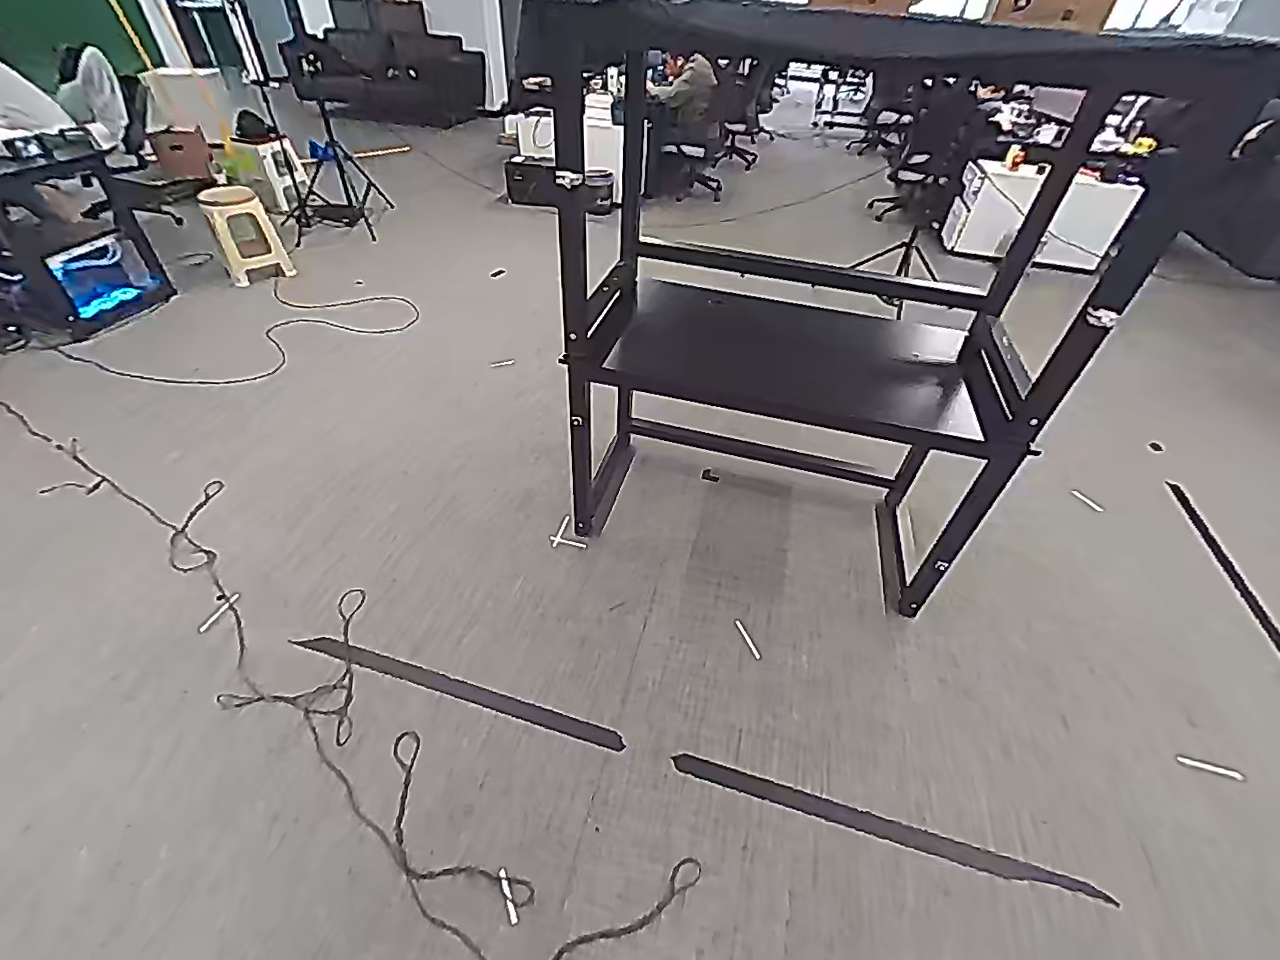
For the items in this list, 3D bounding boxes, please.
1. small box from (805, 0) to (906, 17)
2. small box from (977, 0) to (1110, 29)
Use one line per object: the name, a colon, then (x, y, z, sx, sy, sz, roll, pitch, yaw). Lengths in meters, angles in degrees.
small box: (0.383, -0.900, 0.911, 0.168, 0.176, 0.179, 13, 41, 10)
small box: (0.673, -0.837, 0.868, 0.168, 0.176, 0.179, 15, 42, 12)
